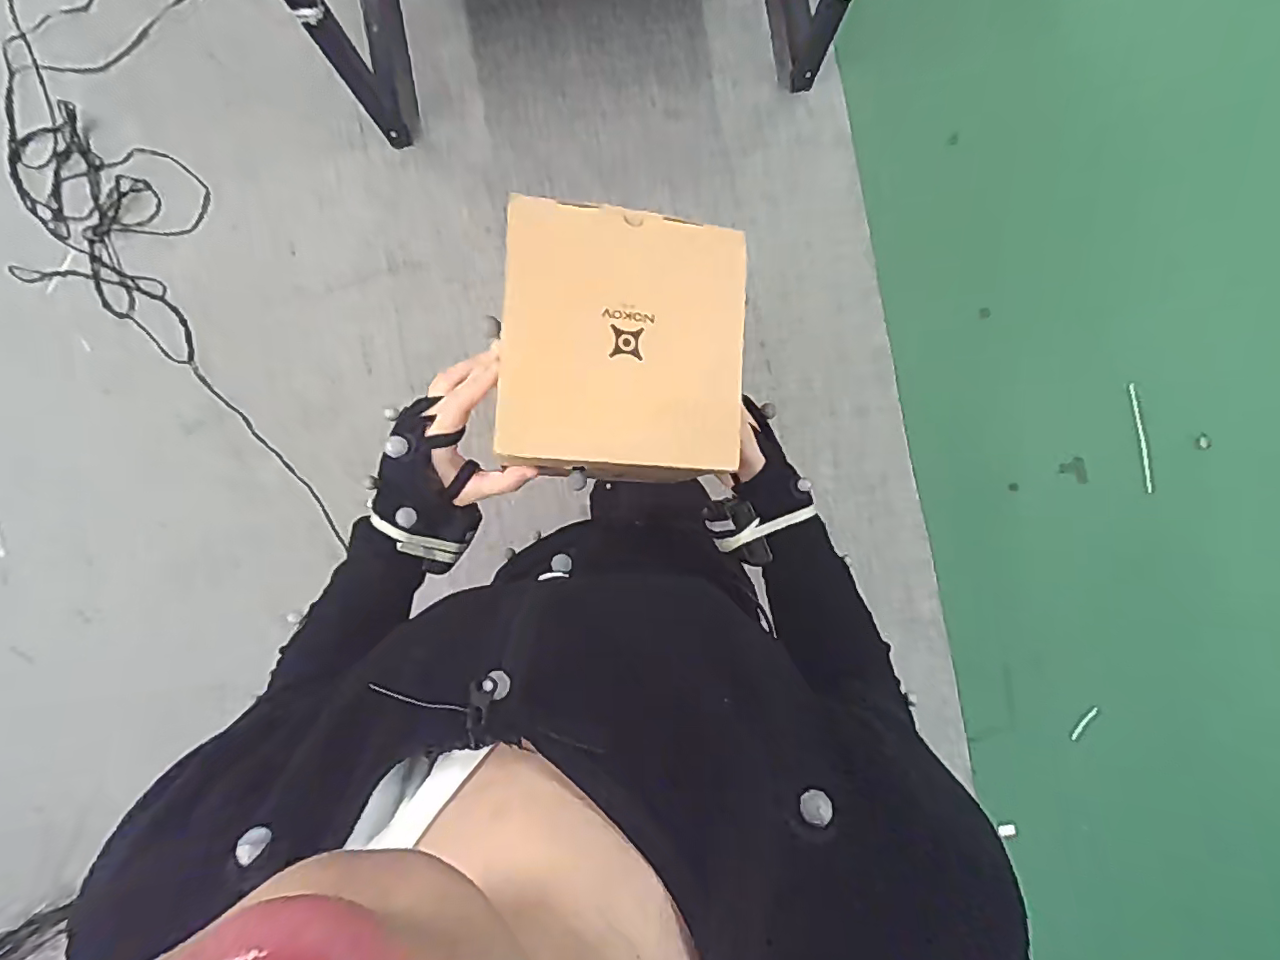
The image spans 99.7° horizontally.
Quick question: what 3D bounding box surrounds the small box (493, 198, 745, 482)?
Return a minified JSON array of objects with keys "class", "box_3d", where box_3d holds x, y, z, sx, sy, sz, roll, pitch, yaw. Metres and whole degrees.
[{"class":"small box","box_3d":[-0.024,-0.092,0.446,0.168,0.176,0.179,4,85,-11]}]
